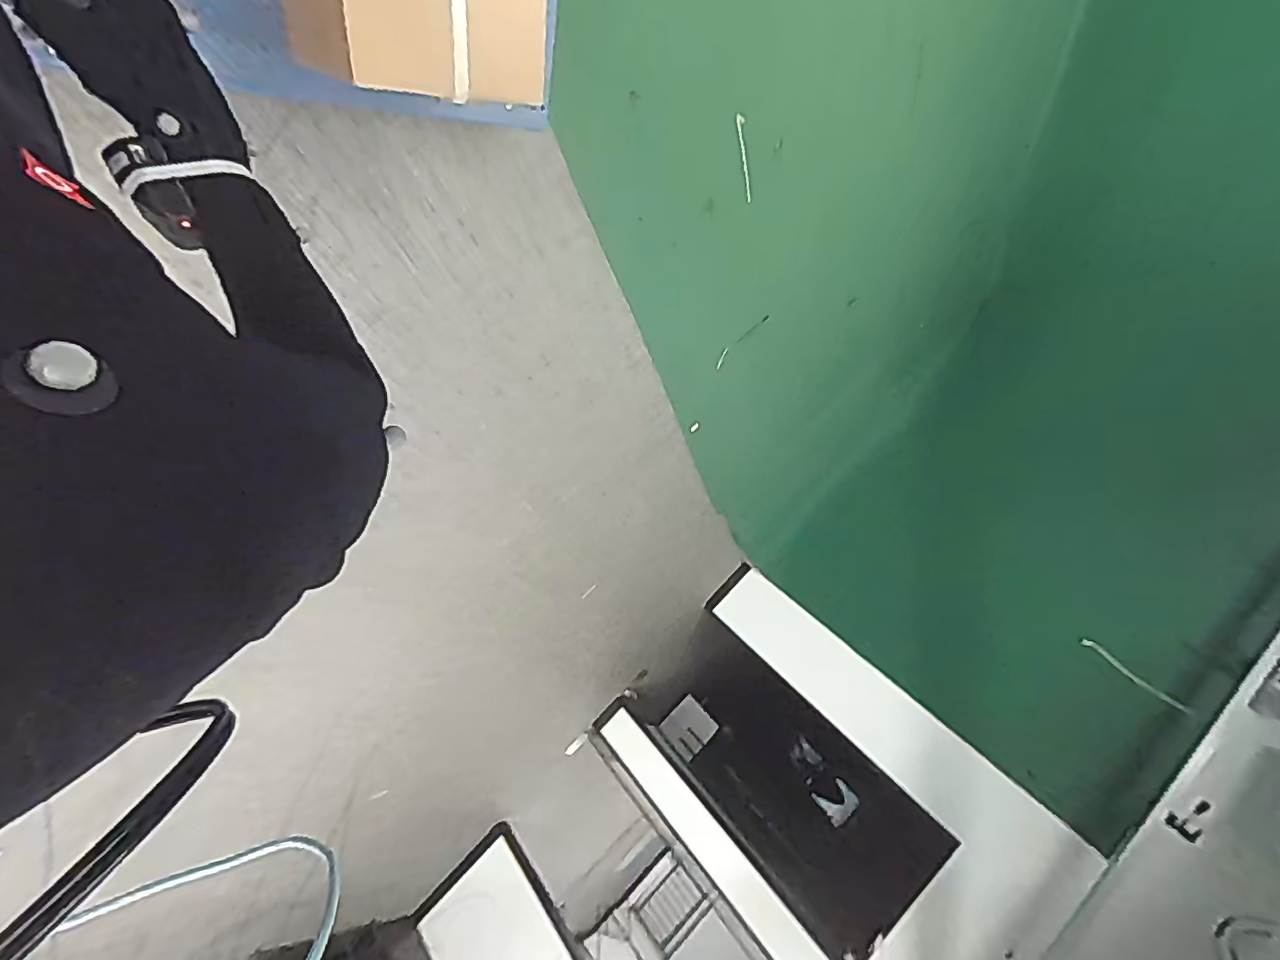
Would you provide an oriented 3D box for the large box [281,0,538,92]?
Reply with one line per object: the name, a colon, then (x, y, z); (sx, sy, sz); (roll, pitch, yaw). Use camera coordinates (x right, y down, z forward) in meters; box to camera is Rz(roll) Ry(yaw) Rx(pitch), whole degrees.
large box: (-0.363, -0.851, 0.809); (0.320, 0.320, 0.408); (-23, 138, -36)
